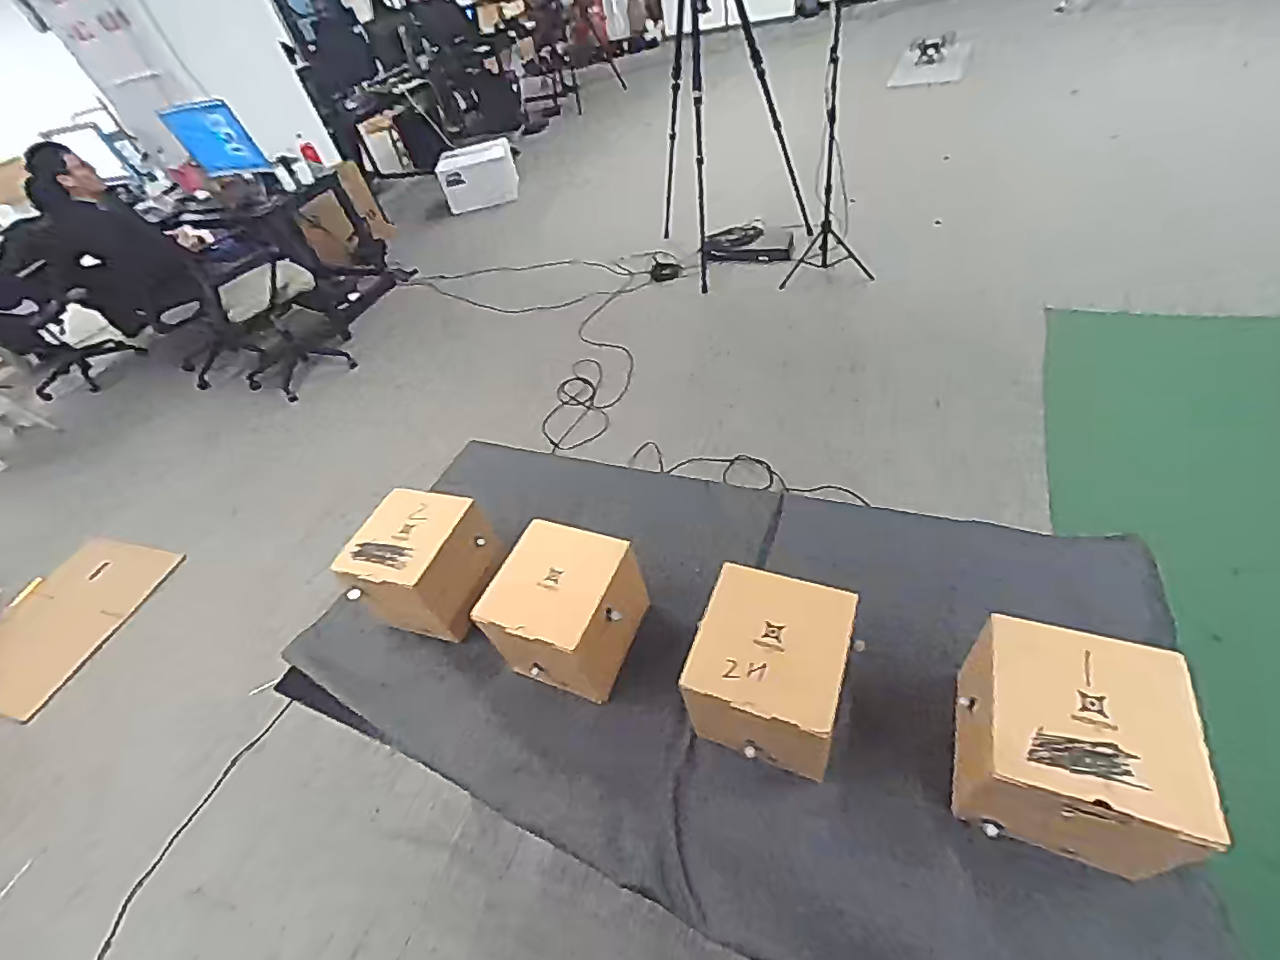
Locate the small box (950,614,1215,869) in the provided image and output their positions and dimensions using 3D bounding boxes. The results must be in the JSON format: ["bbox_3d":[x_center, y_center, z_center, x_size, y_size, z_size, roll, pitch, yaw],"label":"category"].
[{"bbox_3d":[0.443,0.278,0.576,0.168,0.176,0.179,11,51,23],"label":"small box"}]

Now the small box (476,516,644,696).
[{"bbox_3d":[-0.104,0.185,0.799,0.168,0.176,0.179,12,52,23],"label":"small box"}]

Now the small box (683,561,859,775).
[{"bbox_3d":[0.167,0.236,0.683,0.168,0.176,0.179,12,52,24],"label":"small box"}]
